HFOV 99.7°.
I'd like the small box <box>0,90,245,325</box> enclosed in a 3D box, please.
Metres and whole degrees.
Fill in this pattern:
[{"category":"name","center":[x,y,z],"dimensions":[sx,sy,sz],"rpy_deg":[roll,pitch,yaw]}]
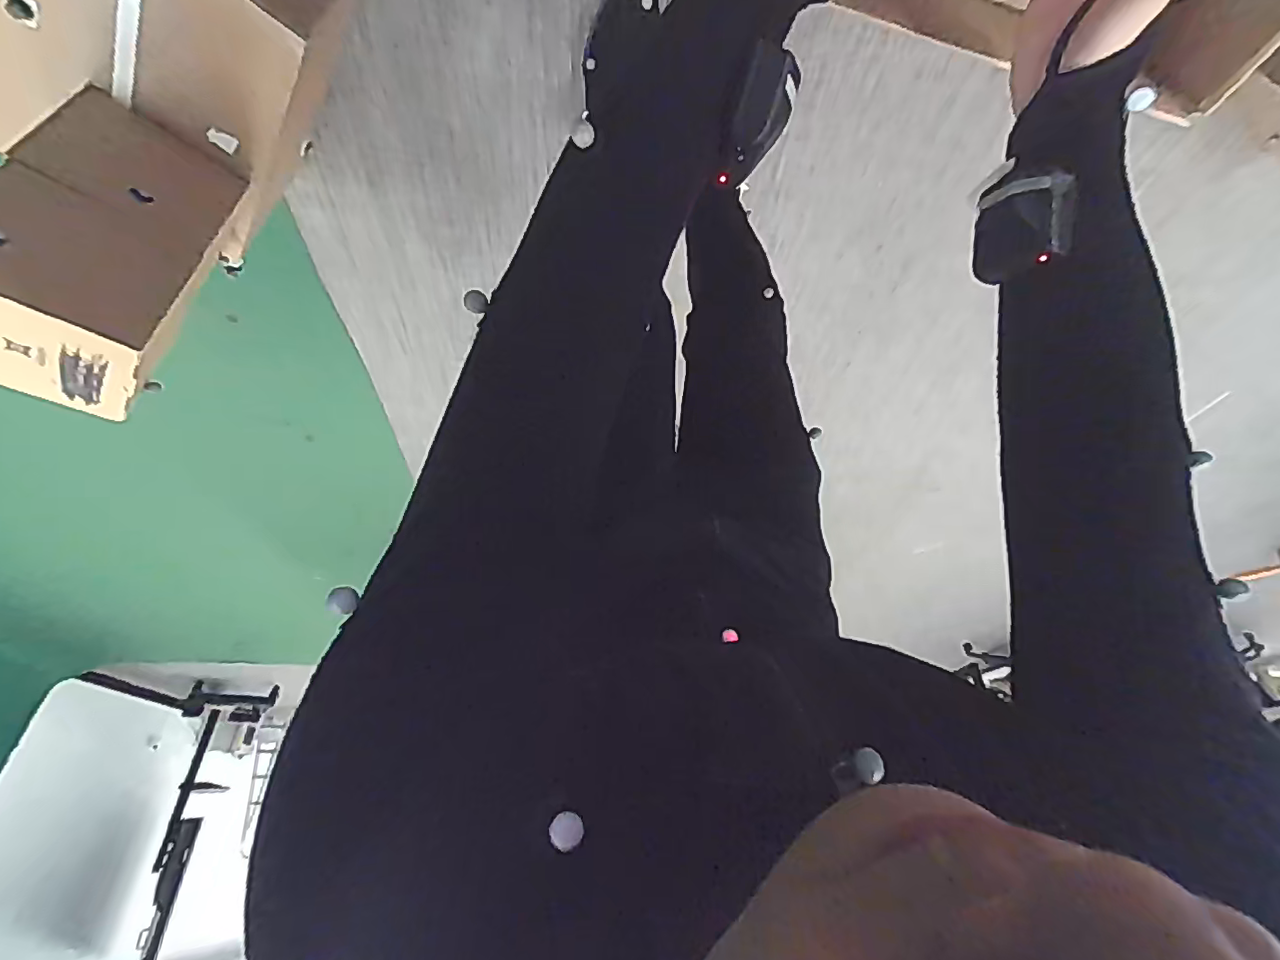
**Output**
[{"category":"small box","center":[-0.653,-0.346,0.698],"dimensions":[0.168,0.176,0.179],"rpy_deg":[-29,138,35]}]
